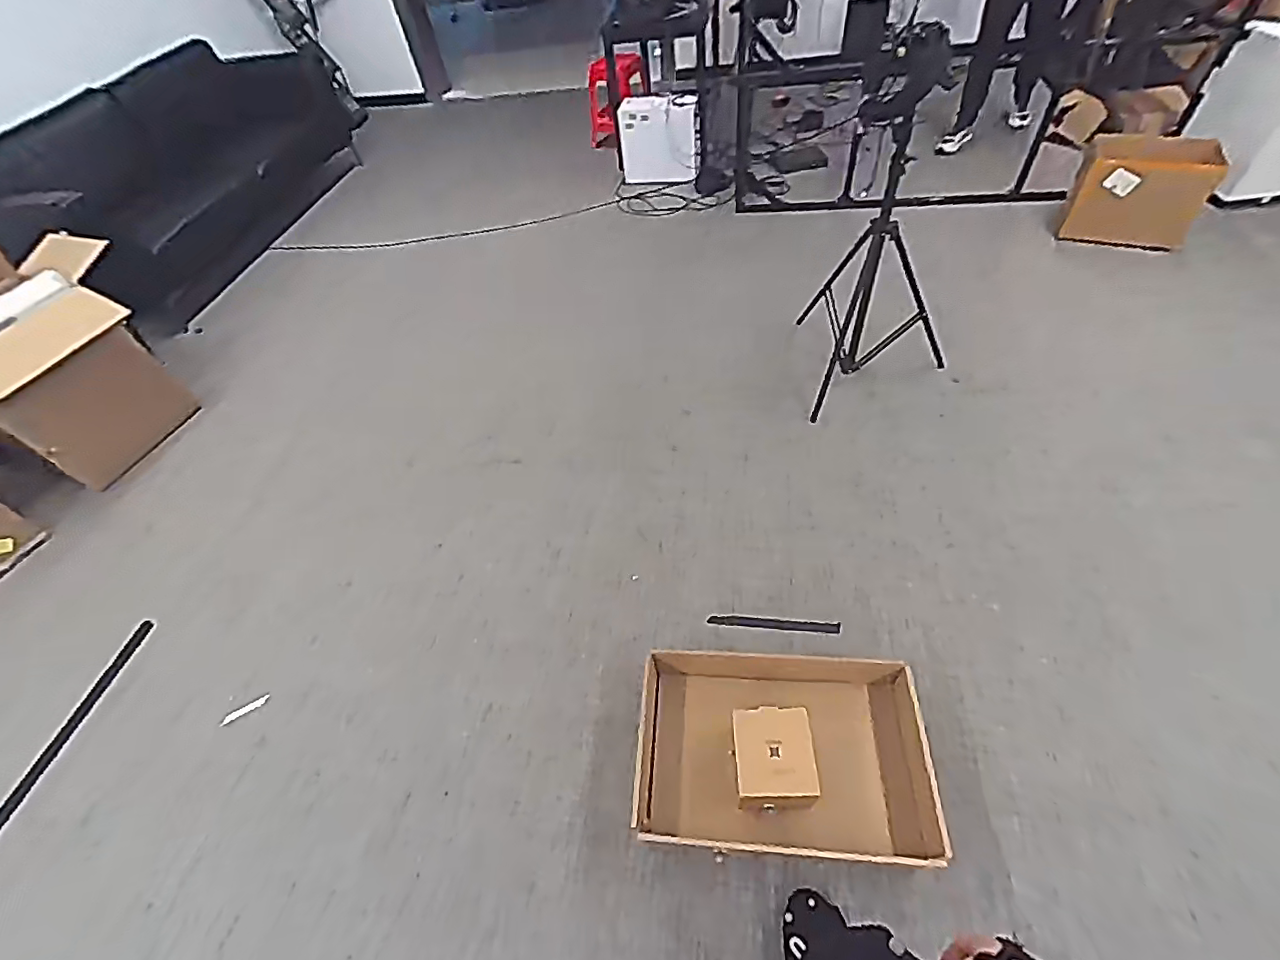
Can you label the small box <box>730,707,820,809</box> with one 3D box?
[{"bbox_3d":[0.294,0.628,1.216,0.168,0.176,0.179,-5,51,6],"label":"small box"}]
